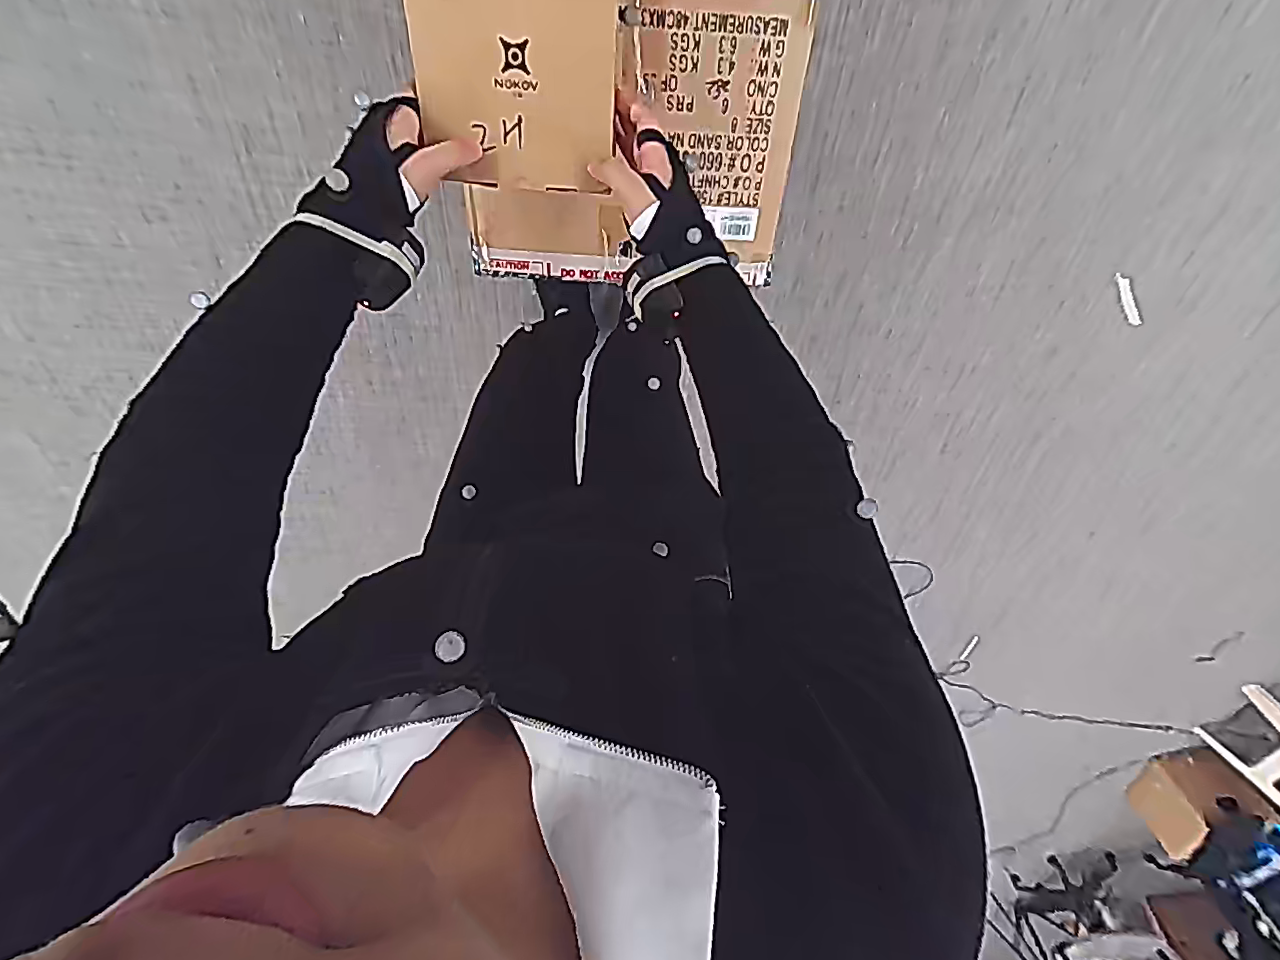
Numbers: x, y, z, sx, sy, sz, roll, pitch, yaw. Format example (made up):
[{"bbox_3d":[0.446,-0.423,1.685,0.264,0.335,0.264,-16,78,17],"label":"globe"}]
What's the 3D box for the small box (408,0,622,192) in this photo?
[{"bbox_3d":[-0.104,-0.391,0.509,0.168,0.176,0.179,3,129,-3],"label":"small box"}]
